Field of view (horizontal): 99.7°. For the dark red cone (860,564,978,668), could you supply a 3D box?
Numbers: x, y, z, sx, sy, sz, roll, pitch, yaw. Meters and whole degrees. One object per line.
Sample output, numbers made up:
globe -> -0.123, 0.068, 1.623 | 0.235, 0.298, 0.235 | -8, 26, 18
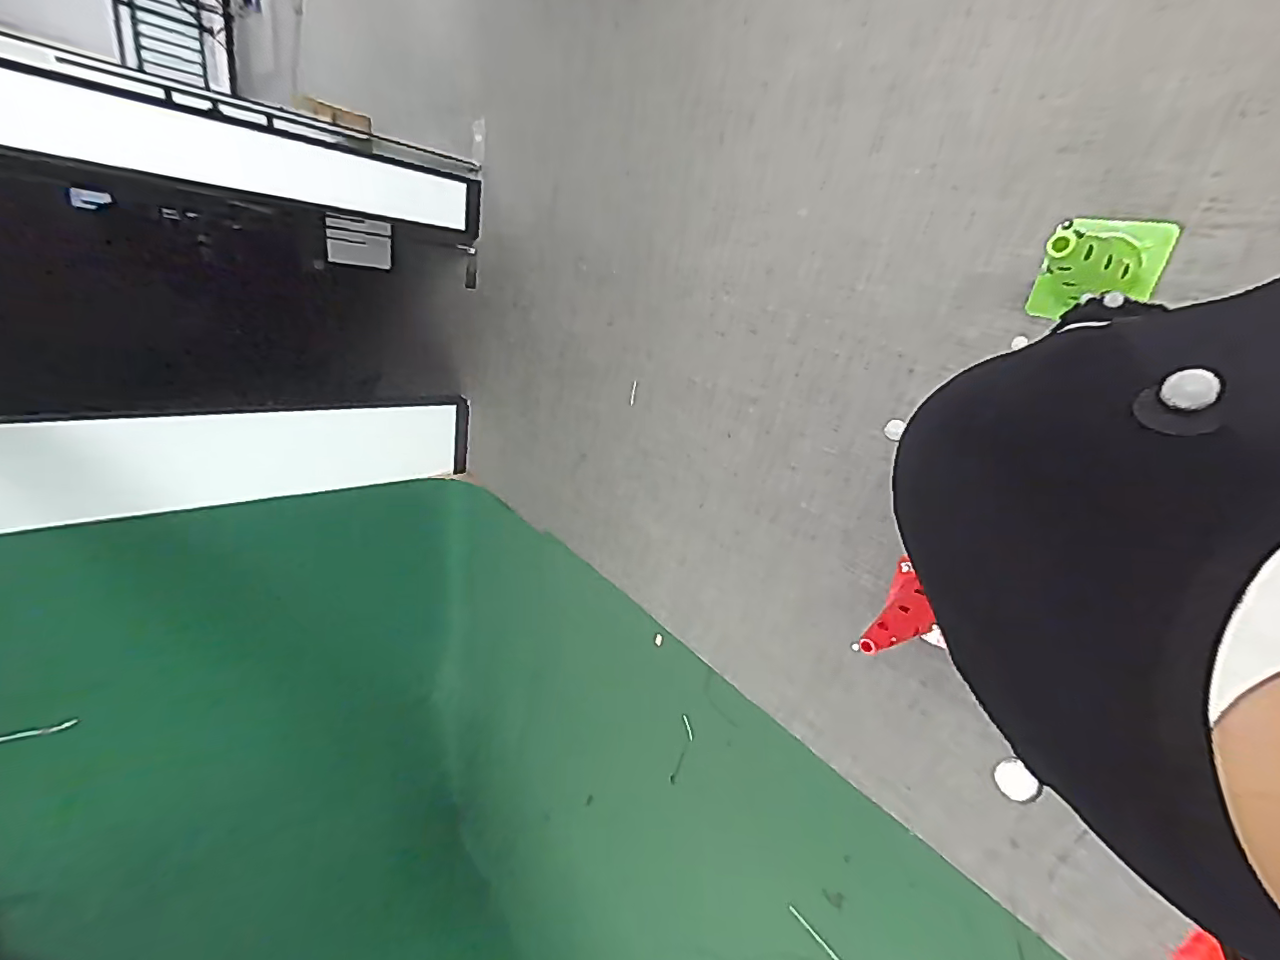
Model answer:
dark red cone -> 0.644, 0.365, 1.320 | 0.202, 0.394, 0.201 | 24, 116, 43

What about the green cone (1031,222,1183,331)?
green cone -> 0.831, -0.399, 1.004 | 0.202, 0.368, 0.200 | 28, 118, 40
